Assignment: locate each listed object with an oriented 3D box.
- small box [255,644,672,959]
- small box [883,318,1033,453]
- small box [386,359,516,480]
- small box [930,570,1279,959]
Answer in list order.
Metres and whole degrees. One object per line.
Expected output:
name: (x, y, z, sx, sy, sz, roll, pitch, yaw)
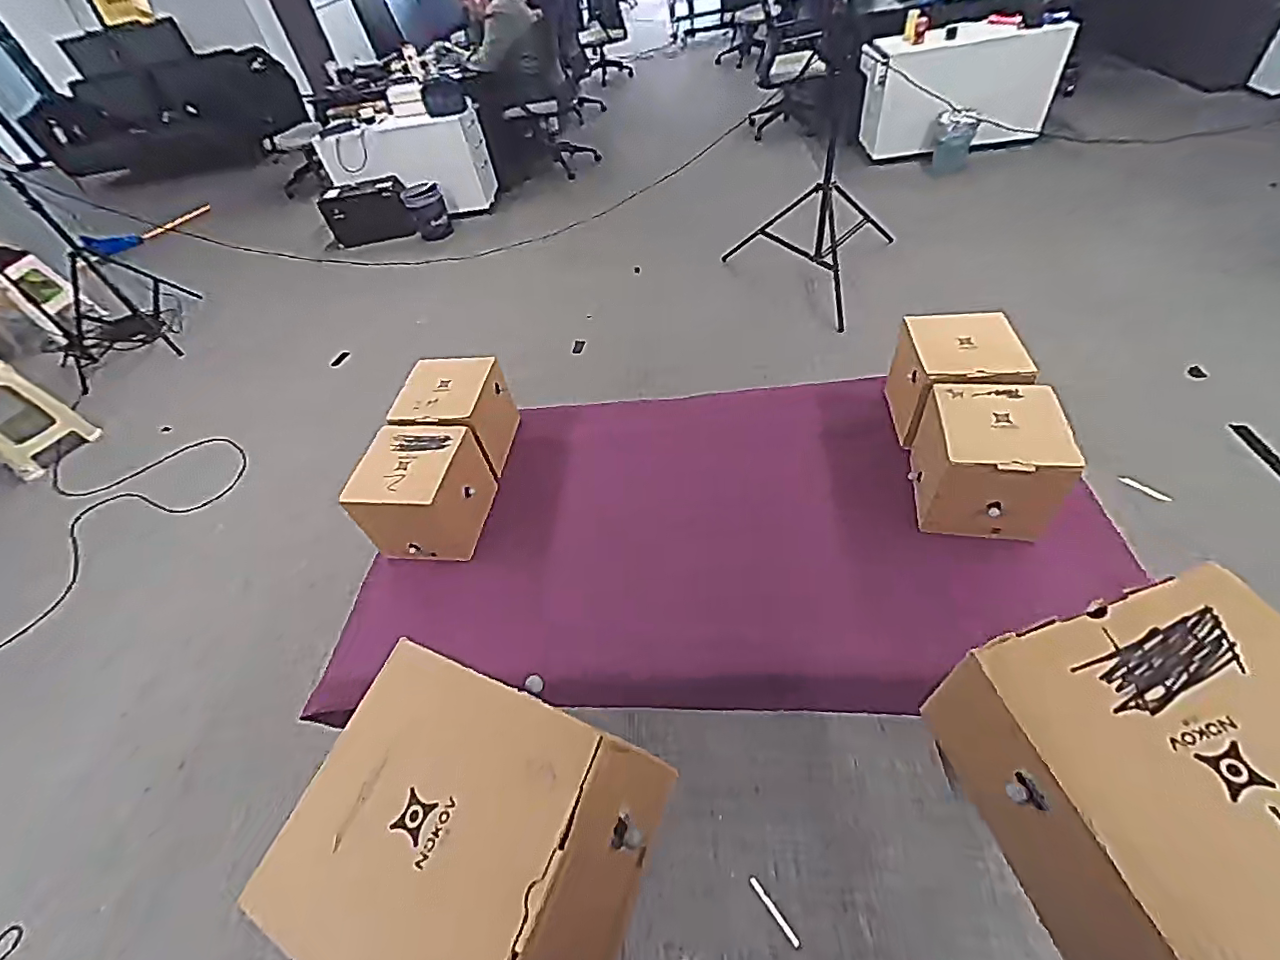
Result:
small box: (-0.096, 0.241, 0.373, 0.179, 0.176, 0.168, 11, 59, 28)
small box: (0.550, -0.169, 0.968, 0.168, 0.176, 0.179, 0, 48, 9)
small box: (-0.361, -0.121, 1.075, 0.168, 0.176, 0.179, 0, 50, 9)
small box: (0.323, 0.191, 0.352, 0.168, 0.176, 0.179, -21, 54, 1)
